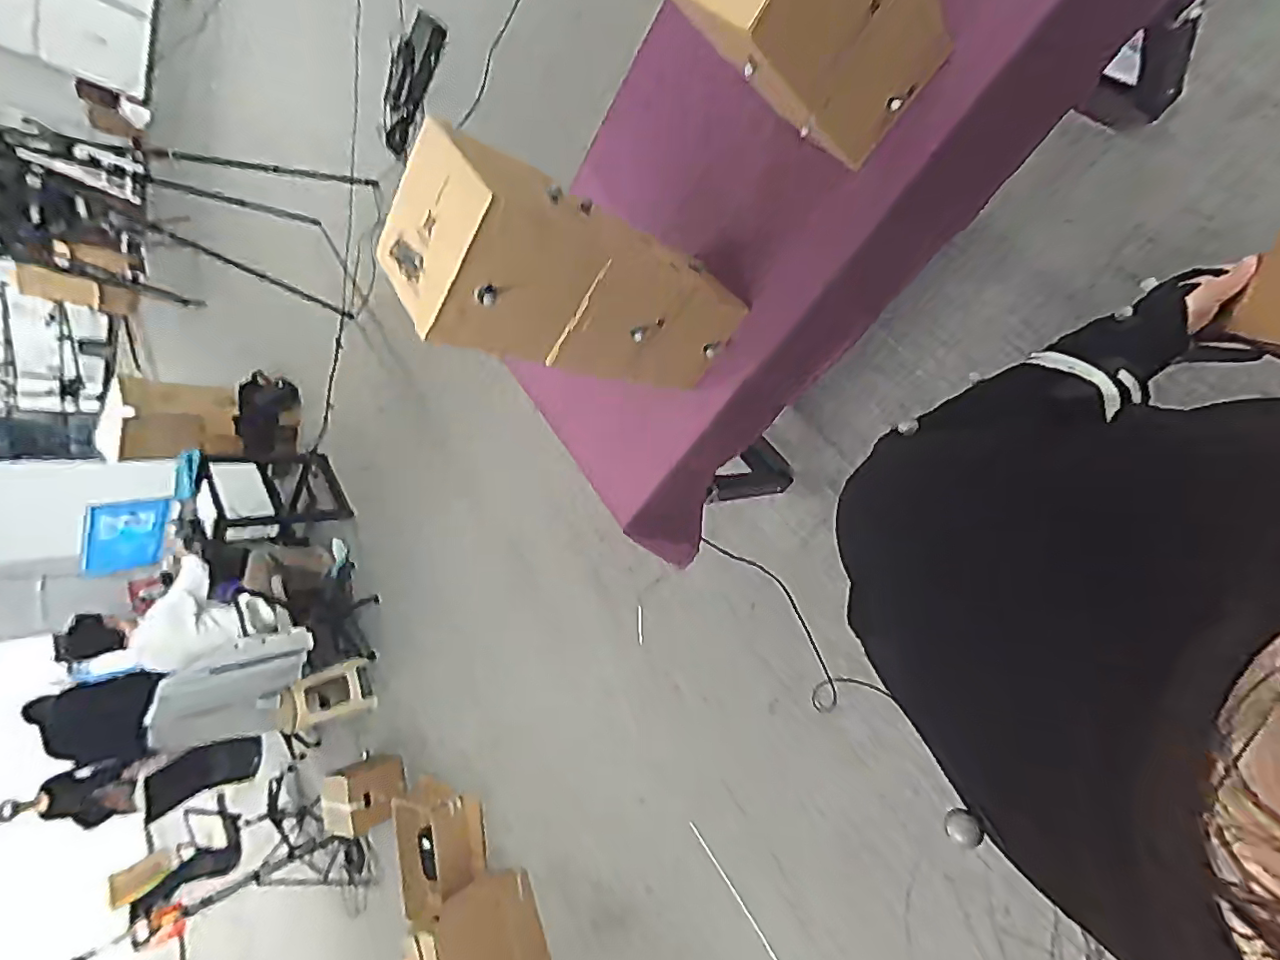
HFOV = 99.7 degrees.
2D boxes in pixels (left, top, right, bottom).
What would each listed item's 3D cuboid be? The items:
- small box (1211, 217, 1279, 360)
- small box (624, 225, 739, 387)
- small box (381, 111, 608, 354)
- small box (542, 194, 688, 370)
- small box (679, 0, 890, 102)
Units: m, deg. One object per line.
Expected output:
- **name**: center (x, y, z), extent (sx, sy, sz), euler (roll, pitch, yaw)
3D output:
- **small box**: center (0.568, -0.146, 0.373), extent (0.168, 0.176, 0.179), euler (30, 120, 12)
- **small box**: center (0.038, -0.276, 0.892), extent (0.168, 0.176, 0.179), euler (52, 120, 25)
- **small box**: center (-0.169, -0.272, 0.636), extent (0.179, 0.176, 0.168), euler (-49, 63, 29)
- **small box**: center (-0.068, -0.274, 0.765), extent (0.179, 0.176, 0.168), euler (53, 122, 24)
- **small box**: center (0.155, -0.547, 0.573), extent (0.168, 0.176, 0.179), euler (-51, 63, 29)
